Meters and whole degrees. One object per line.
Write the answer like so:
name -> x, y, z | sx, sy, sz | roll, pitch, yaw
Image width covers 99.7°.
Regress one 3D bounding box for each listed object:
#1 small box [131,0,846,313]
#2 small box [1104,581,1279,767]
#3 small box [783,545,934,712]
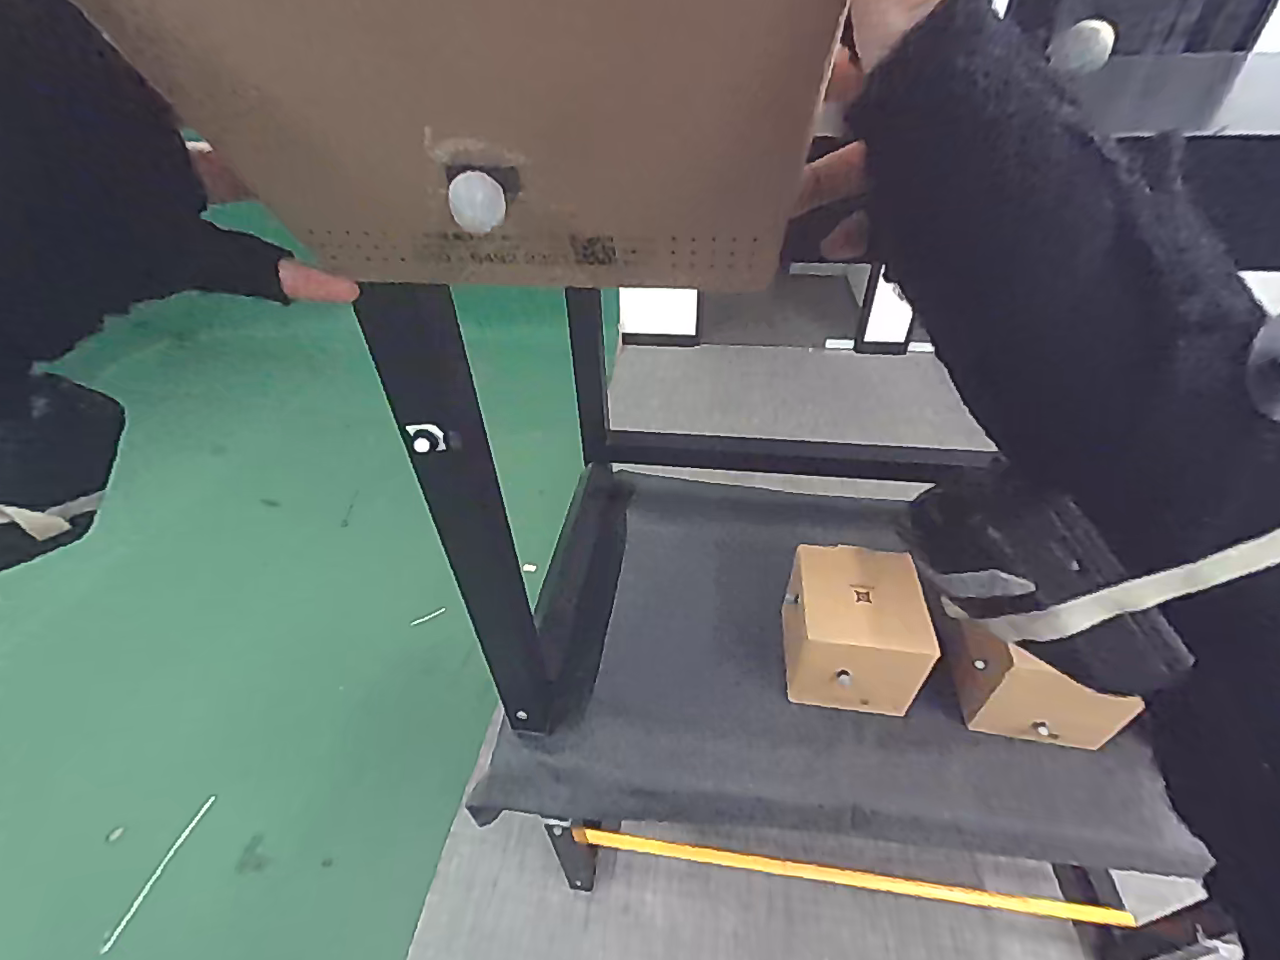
small box -> -0.033, -0.173, 0.153 | 0.168, 0.176, 0.179 | 3, 75, 5
small box -> 0.798, 0.264, 0.735 | 0.168, 0.176, 0.179 | 4, 39, 7
small box -> 0.312, 0.223, 0.812 | 0.168, 0.176, 0.179 | 4, 40, 7
